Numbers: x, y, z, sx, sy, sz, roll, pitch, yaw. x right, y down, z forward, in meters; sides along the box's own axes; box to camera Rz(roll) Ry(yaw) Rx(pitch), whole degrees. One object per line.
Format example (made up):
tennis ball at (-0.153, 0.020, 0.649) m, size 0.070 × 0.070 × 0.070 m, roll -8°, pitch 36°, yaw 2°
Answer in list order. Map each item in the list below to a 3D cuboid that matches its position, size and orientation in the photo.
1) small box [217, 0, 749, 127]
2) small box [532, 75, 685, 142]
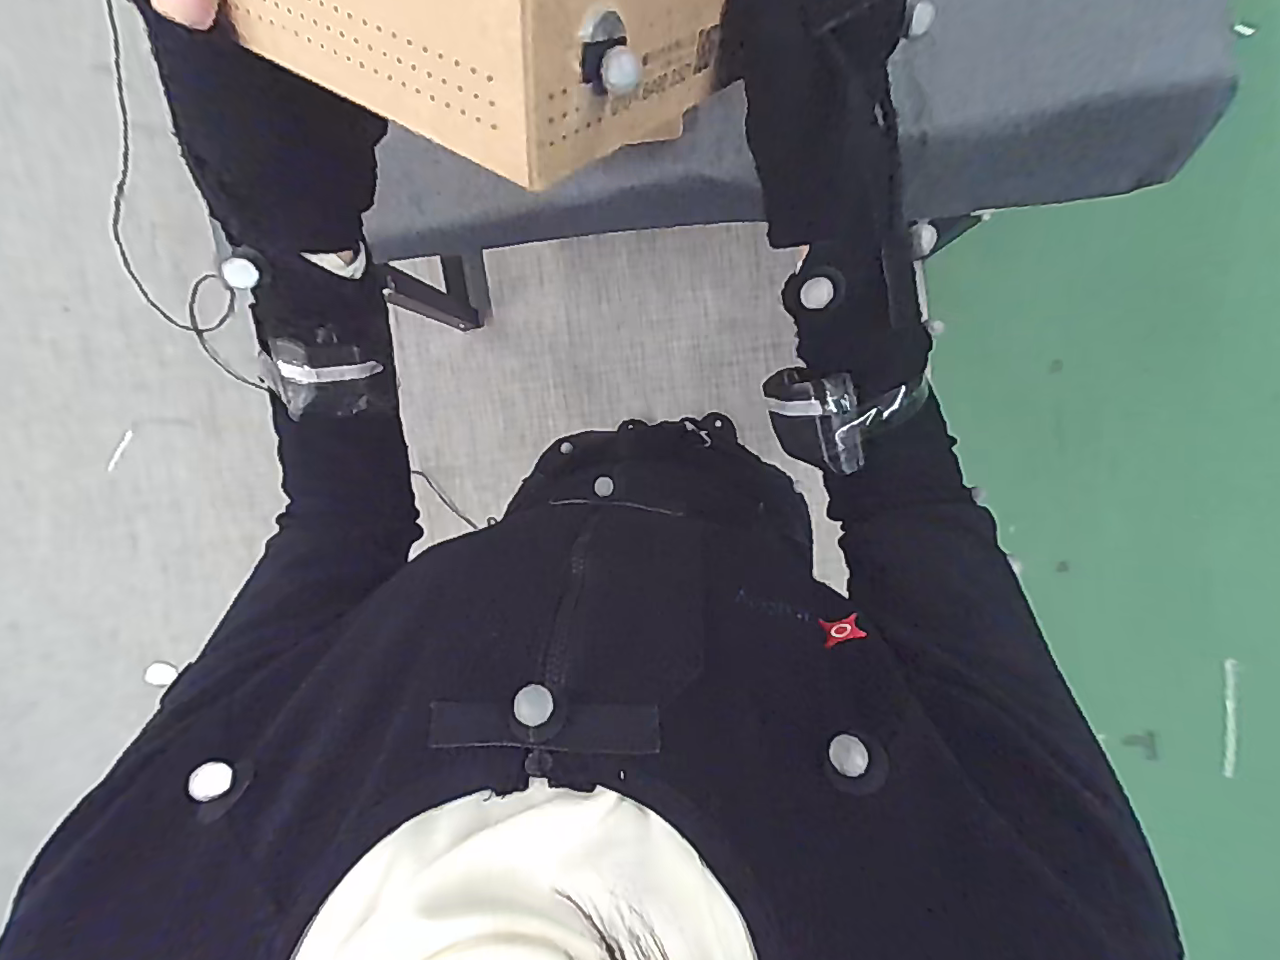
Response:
small box at (-0.051, -0.245, 0.174) m, size 0.179 × 0.176 × 0.168 m, roll 31°, pitch 56°, yaw 13°
small box at (-0.044, -0.484, 0.566) m, size 0.179 × 0.176 × 0.168 m, roll -3°, pitch 95°, yaw 5°
